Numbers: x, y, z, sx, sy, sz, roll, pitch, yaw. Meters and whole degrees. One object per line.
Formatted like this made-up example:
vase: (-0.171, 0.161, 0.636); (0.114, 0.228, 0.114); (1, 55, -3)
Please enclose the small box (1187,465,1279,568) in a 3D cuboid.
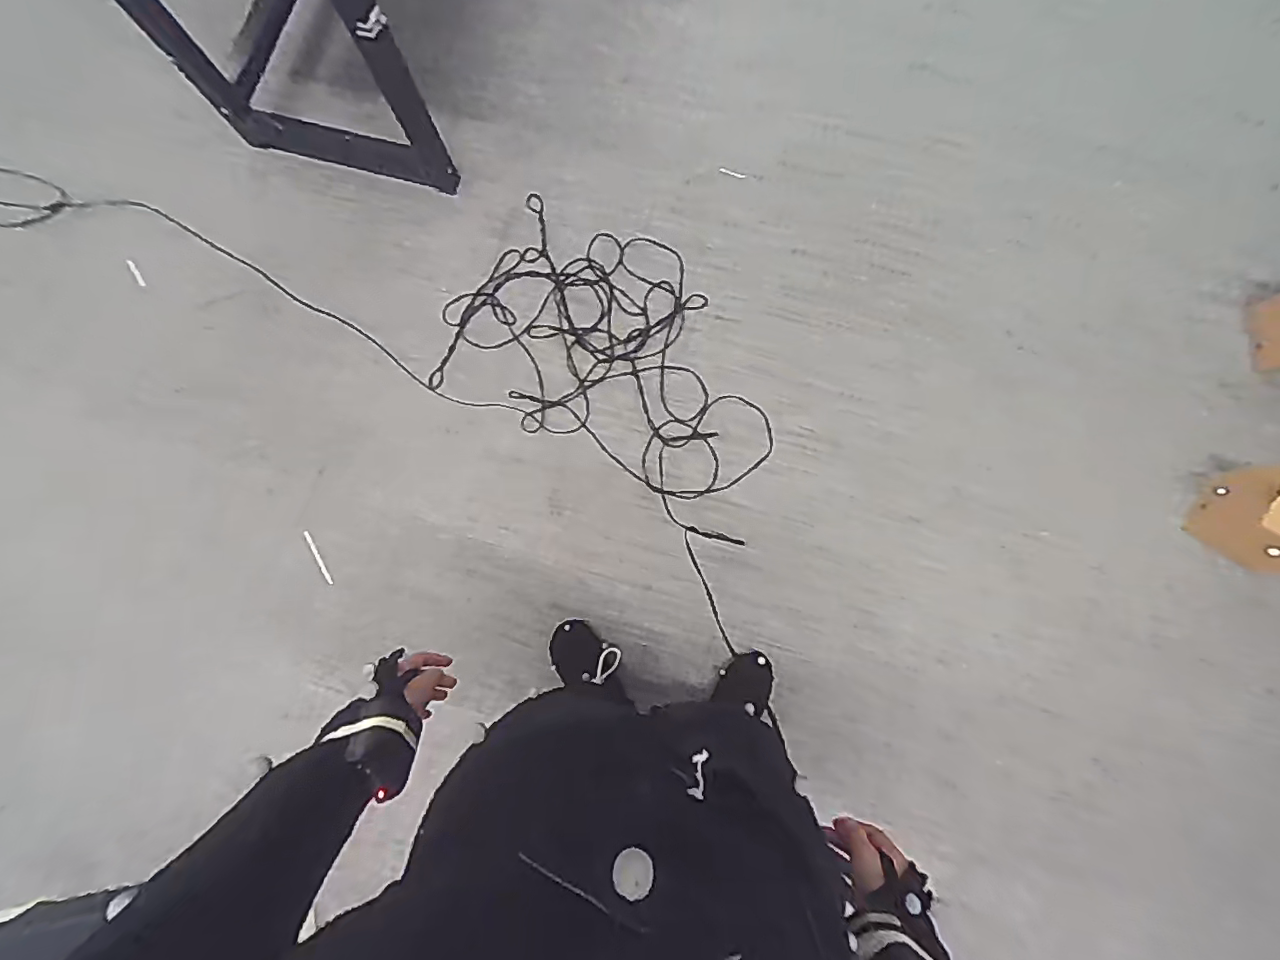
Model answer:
small box: (1.357, 0.079, 1.154); (0.179, 0.176, 0.168); (34, 83, 6)
